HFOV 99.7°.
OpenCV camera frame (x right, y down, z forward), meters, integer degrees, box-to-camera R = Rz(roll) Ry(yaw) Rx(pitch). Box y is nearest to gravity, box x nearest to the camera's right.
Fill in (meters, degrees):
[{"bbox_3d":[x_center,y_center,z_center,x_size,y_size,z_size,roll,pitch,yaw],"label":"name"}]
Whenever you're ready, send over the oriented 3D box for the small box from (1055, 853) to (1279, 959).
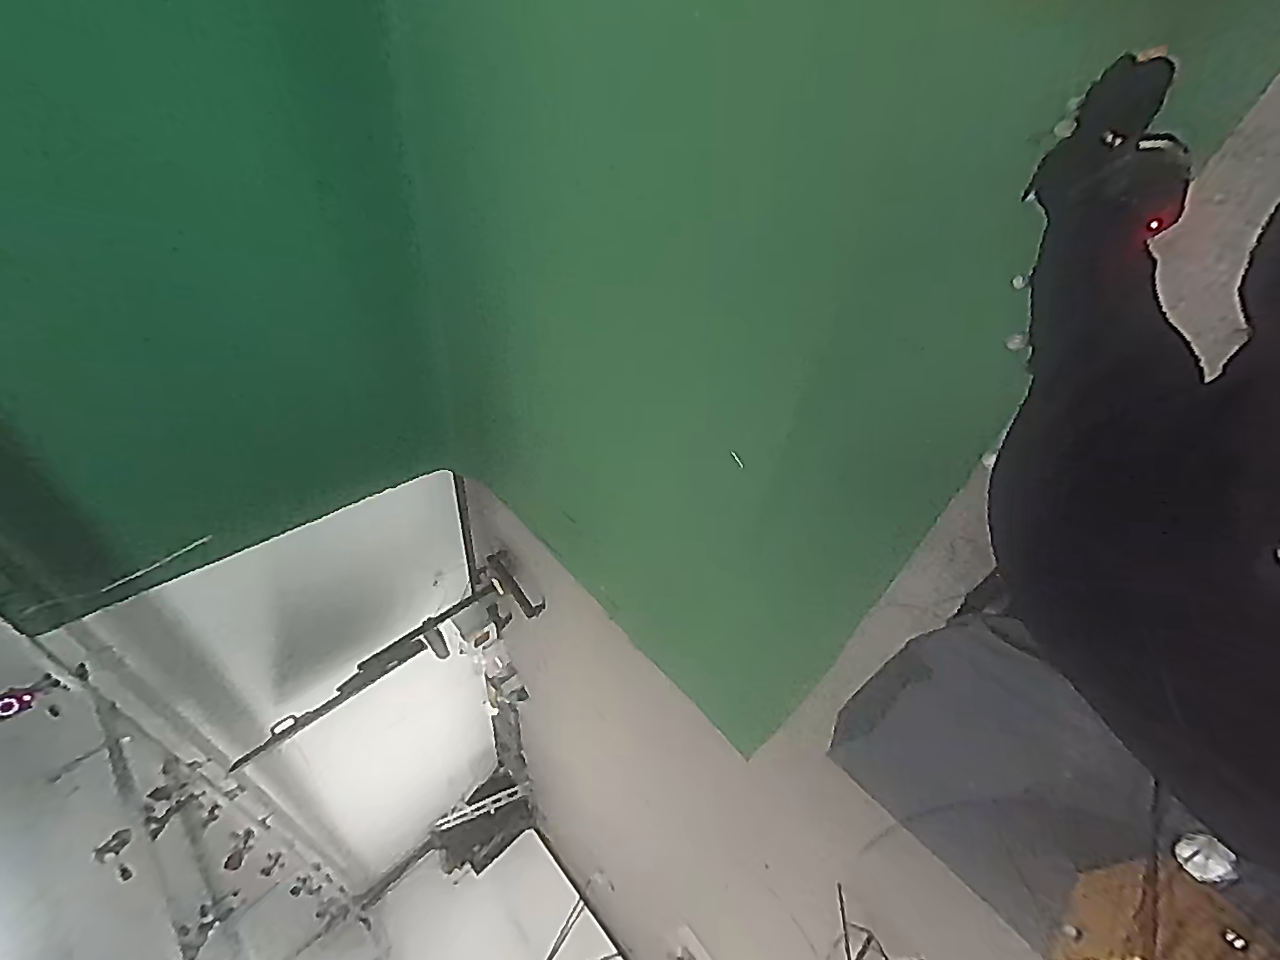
[{"bbox_3d":[0.742,0.671,0.754,0.168,0.176,0.179,40,140,26],"label":"small box"}]
